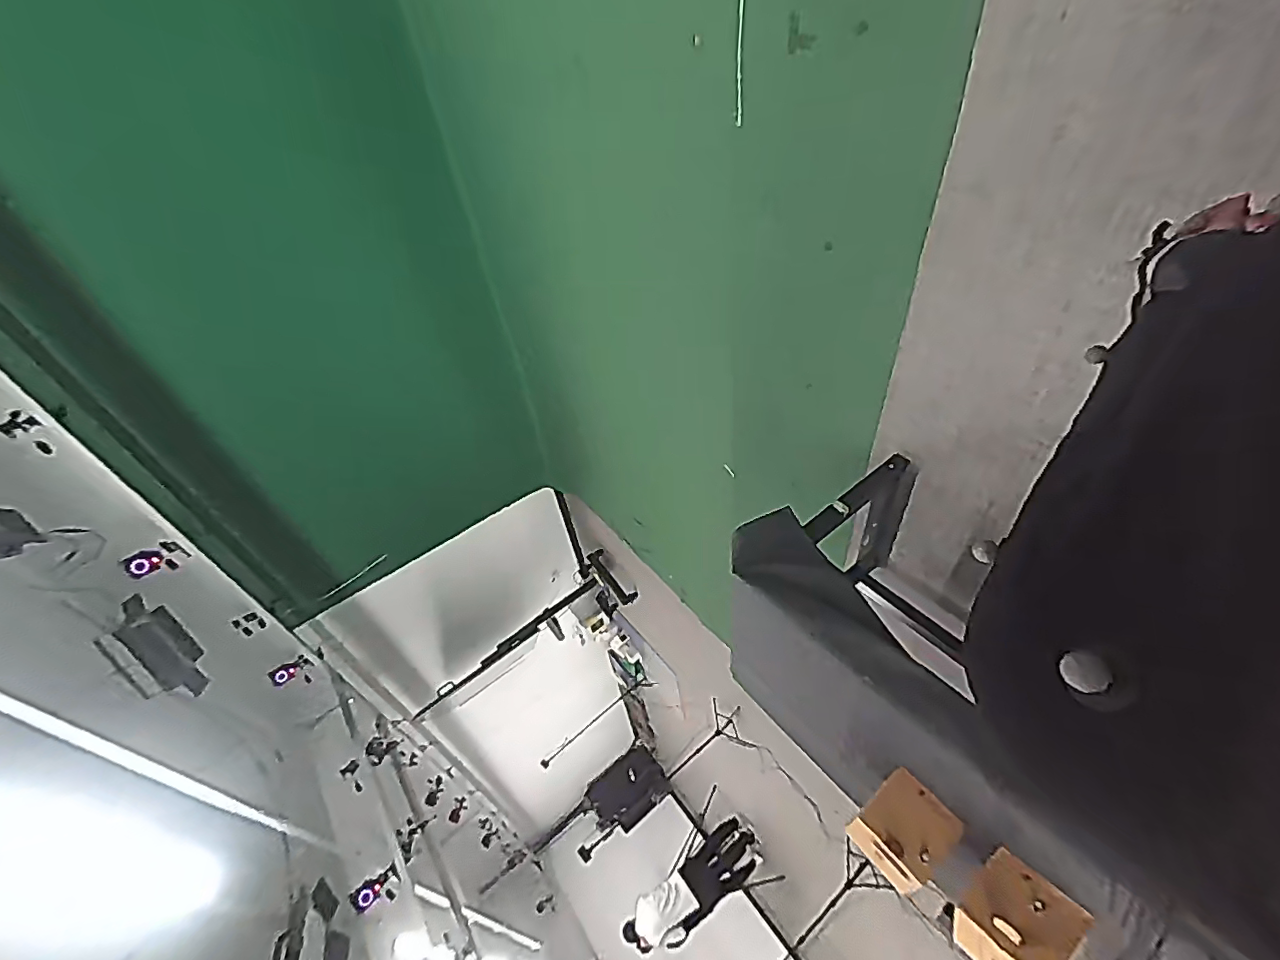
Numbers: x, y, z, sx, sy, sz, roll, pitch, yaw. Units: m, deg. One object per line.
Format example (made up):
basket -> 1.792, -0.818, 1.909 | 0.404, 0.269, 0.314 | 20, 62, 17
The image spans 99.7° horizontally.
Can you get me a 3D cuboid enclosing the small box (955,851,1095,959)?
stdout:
small box -> 0.748, 0.887, 1.058 | 0.168, 0.176, 0.179 | 29, 144, 52
